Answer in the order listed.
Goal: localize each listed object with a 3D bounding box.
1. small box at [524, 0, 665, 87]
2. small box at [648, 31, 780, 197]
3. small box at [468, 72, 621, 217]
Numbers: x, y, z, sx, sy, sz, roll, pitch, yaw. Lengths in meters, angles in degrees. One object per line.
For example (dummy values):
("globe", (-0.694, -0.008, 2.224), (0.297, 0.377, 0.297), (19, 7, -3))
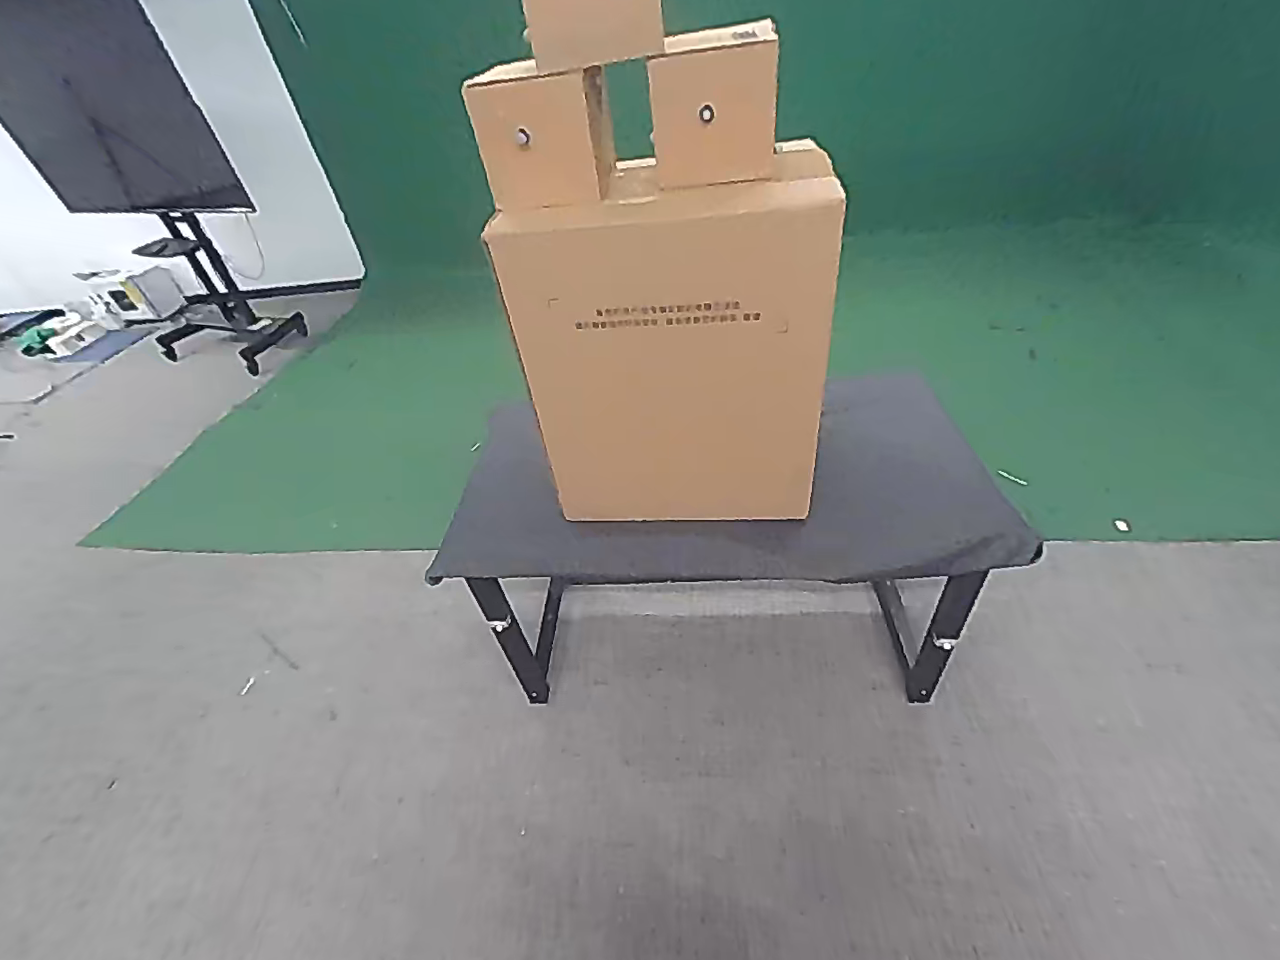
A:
("small box", (-0.062, -0.656, 0.733), (0.179, 0.176, 0.168), (-9, 42, 4))
("small box", (0.118, -0.556, 0.828), (0.179, 0.176, 0.168), (-1, 45, 12))
("small box", (-0.138, -0.533, 0.857), (0.179, 0.176, 0.168), (0, 45, 11))
